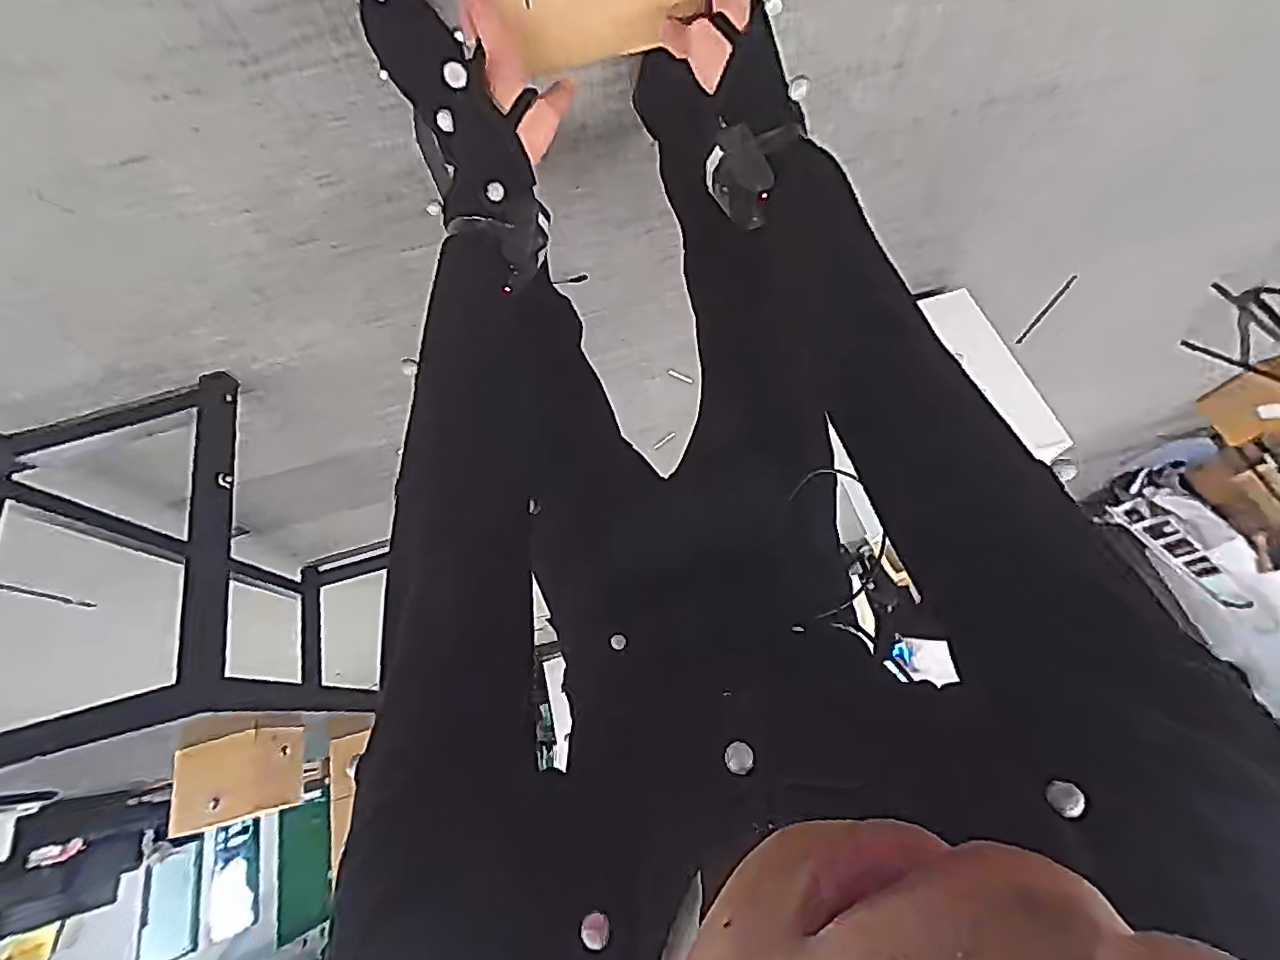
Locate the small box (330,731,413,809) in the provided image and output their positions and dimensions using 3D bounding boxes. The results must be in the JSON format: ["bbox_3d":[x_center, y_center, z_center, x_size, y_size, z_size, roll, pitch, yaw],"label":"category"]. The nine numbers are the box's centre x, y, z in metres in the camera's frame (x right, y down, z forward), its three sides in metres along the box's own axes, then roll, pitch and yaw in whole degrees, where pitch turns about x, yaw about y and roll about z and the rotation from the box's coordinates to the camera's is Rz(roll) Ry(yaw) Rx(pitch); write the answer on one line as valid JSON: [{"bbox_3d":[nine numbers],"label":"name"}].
[{"bbox_3d":[-0.830,0.884,1.667,0.179,0.176,0.168,-17,155,-1],"label":"small box"}]

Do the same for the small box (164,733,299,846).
[{"bbox_3d":[-0.877,0.665,1.180,0.179,0.176,0.168,-16,156,-2],"label":"small box"}]

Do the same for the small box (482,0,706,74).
[{"bbox_3d":[-0.055,-0.460,0.416,0.179,0.176,0.168,-16,153,-4],"label":"small box"}]
